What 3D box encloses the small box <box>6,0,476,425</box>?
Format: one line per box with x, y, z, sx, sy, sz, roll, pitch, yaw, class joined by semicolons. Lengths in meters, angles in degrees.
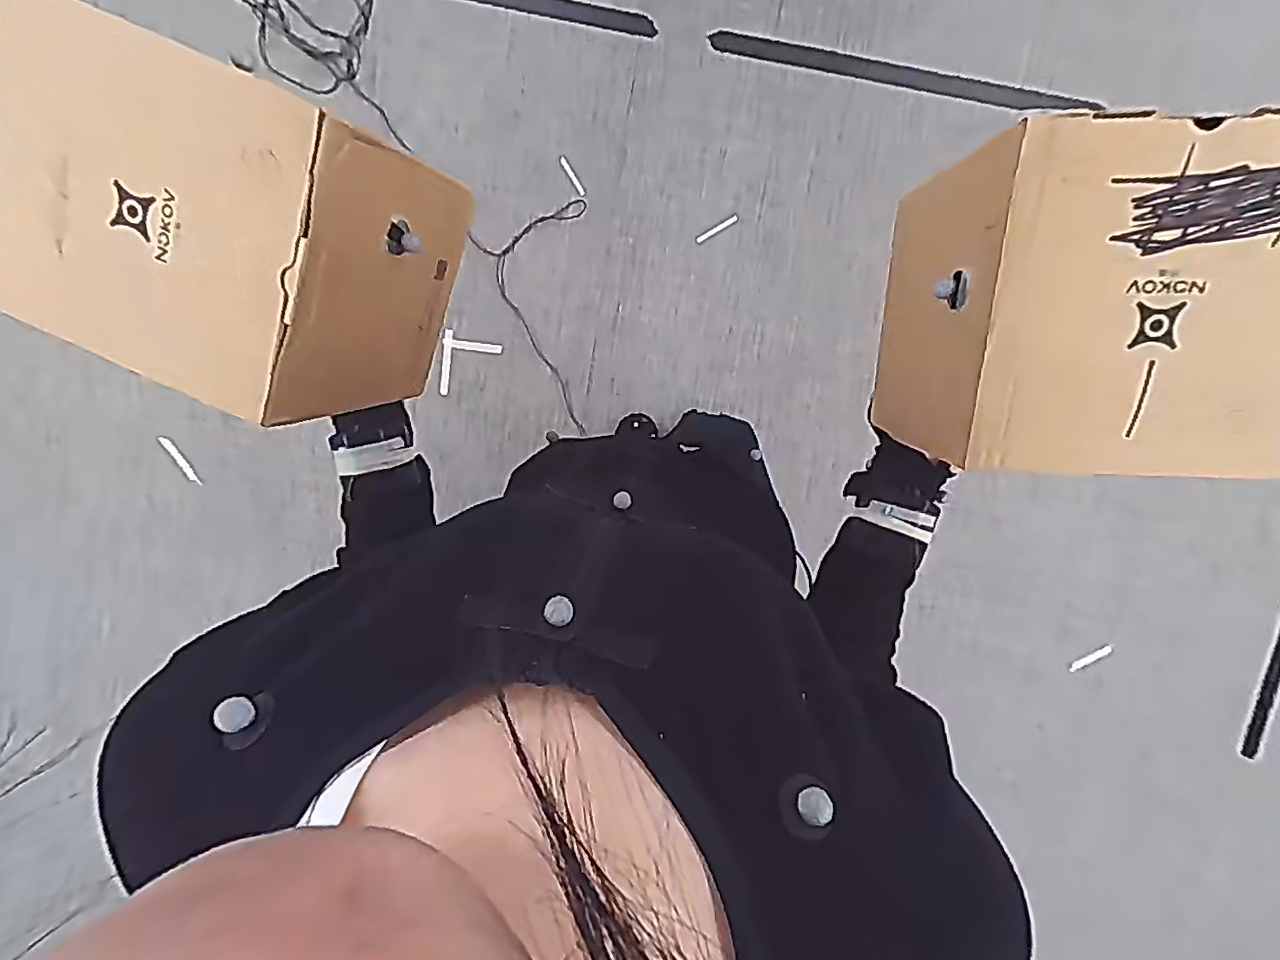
-0.235;-0.155;0.355;0.179;0.176;0.168;24;106;2;small box

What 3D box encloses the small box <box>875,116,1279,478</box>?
0.272;-0.108;0.356;0.168;0.176;0.179;2;105;5;small box
